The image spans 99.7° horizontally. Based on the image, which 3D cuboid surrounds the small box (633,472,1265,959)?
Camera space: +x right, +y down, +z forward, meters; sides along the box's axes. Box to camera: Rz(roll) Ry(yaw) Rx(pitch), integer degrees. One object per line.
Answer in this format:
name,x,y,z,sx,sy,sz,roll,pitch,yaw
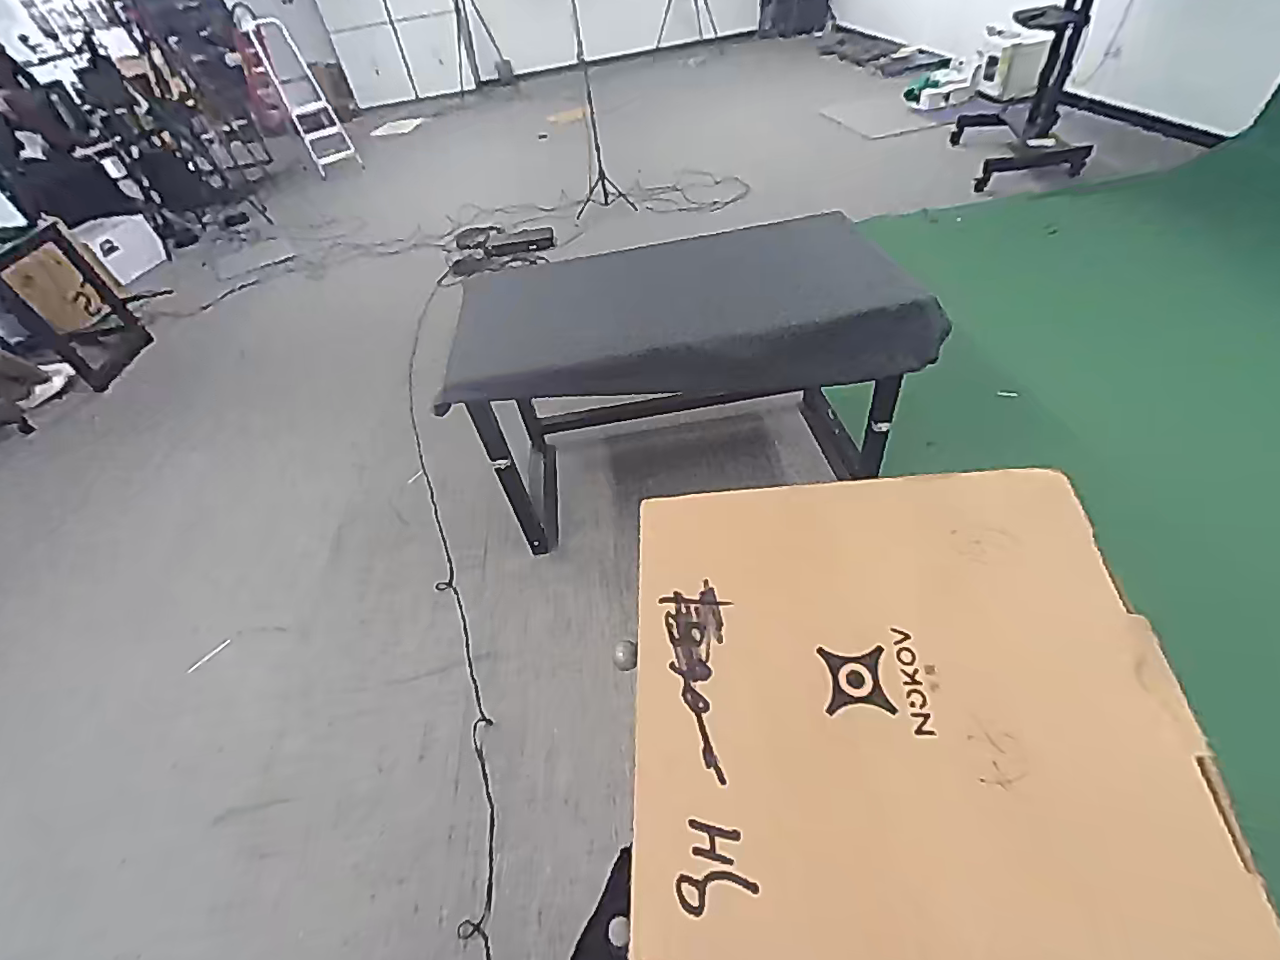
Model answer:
small box,0.097,0.113,0.264,0.179,0.176,0.168,-4,55,8
